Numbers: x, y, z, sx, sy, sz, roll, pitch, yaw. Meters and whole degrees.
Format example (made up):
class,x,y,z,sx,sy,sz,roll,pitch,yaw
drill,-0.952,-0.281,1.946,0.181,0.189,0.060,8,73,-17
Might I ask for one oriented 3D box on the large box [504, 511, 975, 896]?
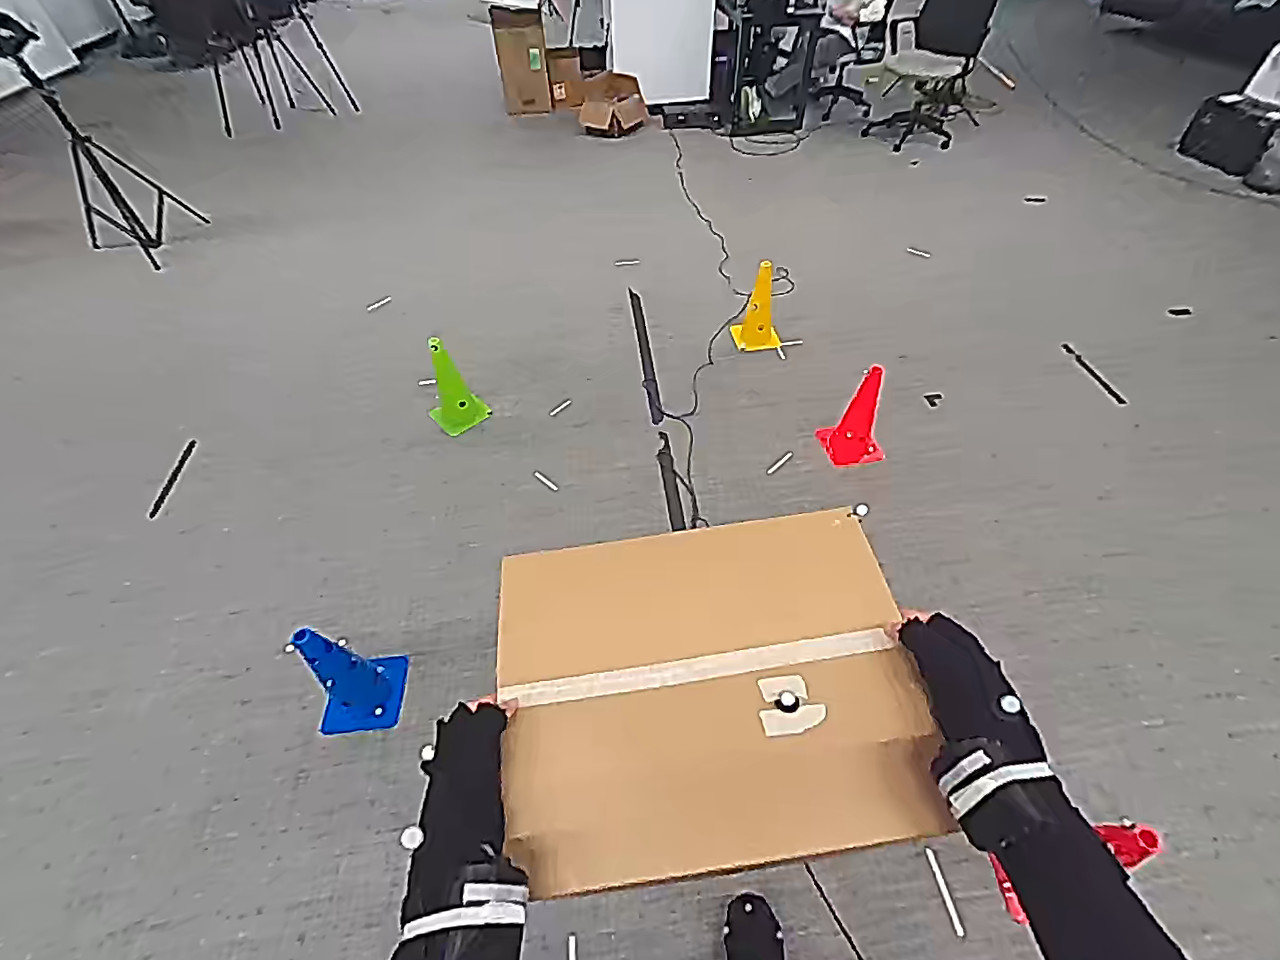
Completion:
class,x,y,z,sx,sy,sz,roll,pitch,yaw
large box,0.074,0.274,0.648,0.408,0.320,0.320,-8,53,-1

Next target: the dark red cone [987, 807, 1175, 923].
class,x,y,z,sx,sy,sz,roll,pitch,yaw
dark red cone,0.863,0.708,1.031,0.201,0.394,0.202,-3,49,1

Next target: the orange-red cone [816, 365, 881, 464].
class,x,y,z,sx,sy,sz,roll,pitch,yaw
orange-red cone,0.775,-0.251,1.905,0.198,0.360,0.199,-8,48,-6

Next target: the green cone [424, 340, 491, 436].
class,x,y,z,sx,sy,sz,roll,pitch,yaw
green cone,-0.747,-0.382,2.083,0.202,0.368,0.200,-38,57,-25

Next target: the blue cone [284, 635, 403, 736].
class,x,y,z,sx,sy,sz,roll,pitch,yaw
blue cone,-0.761,0.482,1.352,0.192,0.380,0.193,-5,49,0
